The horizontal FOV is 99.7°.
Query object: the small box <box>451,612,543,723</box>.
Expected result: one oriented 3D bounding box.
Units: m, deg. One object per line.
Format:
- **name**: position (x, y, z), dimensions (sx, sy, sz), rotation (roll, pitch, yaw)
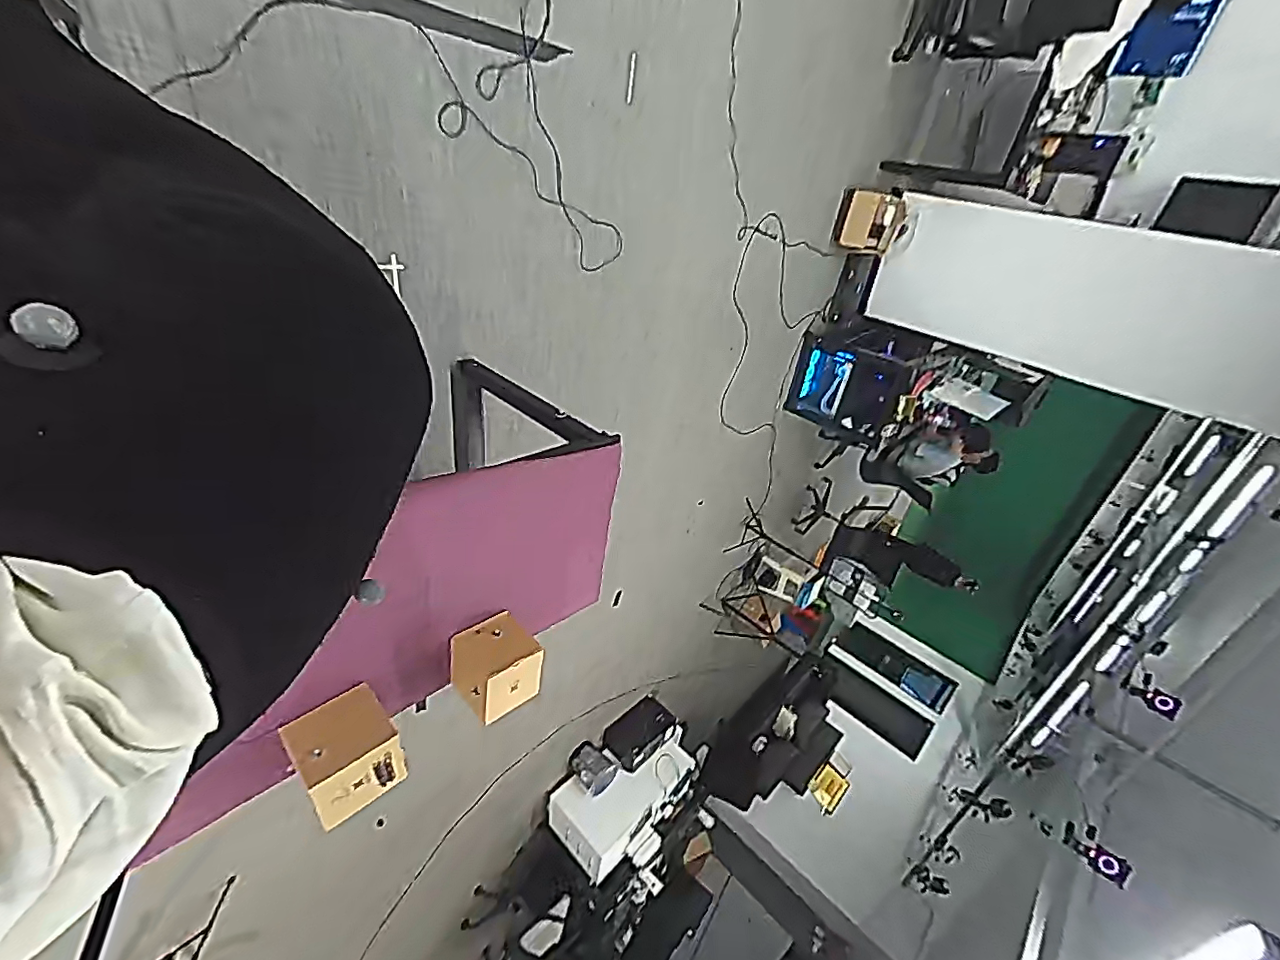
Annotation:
- **small box**: position (-0.375, 0.479, 1.404), dimensions (0.168, 0.176, 0.179), rotation (-20, 131, -43)
